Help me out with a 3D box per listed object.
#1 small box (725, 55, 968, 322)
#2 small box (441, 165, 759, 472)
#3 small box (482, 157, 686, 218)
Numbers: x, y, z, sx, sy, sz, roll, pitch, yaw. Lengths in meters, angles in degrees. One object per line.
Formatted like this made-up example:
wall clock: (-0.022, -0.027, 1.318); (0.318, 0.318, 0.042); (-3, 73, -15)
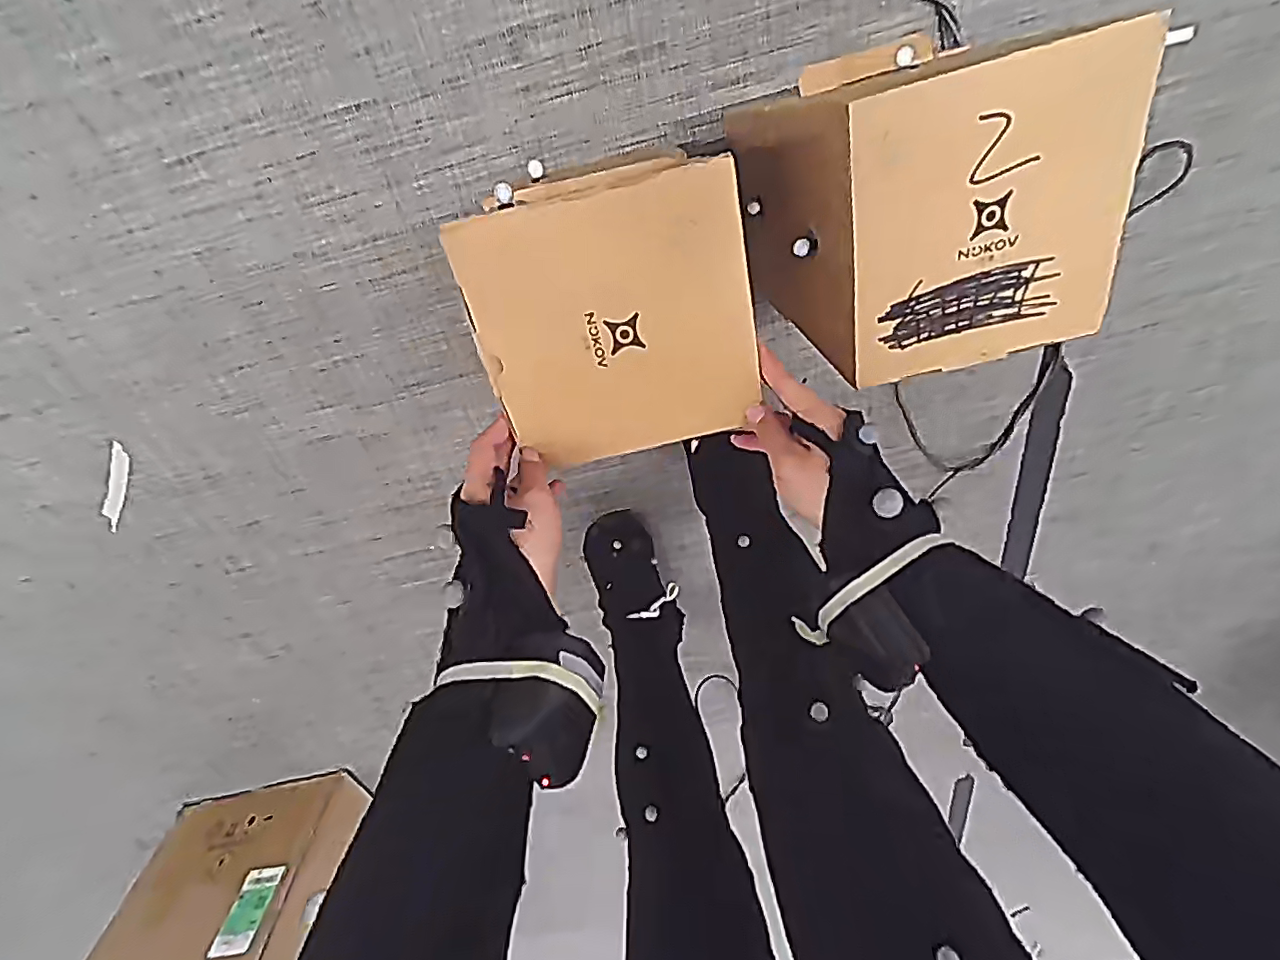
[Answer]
small box: (0.188, -0.282, 0.533); (0.168, 0.176, 0.179); (-14, 124, 5)
small box: (-0.021, -0.131, 0.415); (0.179, 0.176, 0.168); (-12, 119, 3)
small box: (-0.037, -0.223, 0.555); (0.179, 0.176, 0.168); (-9, 123, 4)
